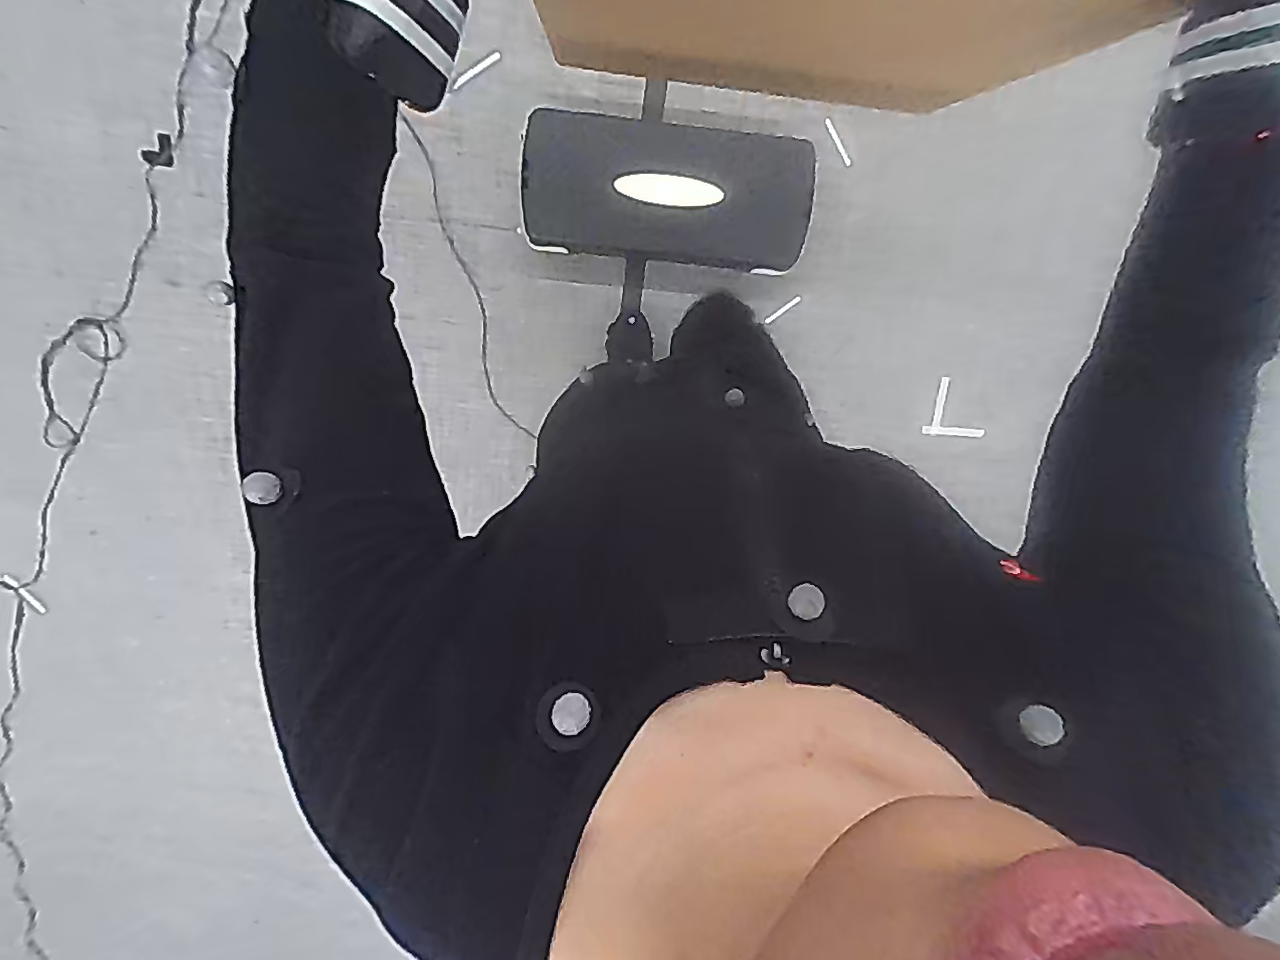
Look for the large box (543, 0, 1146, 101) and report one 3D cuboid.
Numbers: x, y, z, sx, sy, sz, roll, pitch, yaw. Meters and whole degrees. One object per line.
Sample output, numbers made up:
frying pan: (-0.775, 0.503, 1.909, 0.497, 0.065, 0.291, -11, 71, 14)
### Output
large box: (0.131, -0.496, 0.373, 0.408, 0.320, 0.320, 3, 115, -5)
